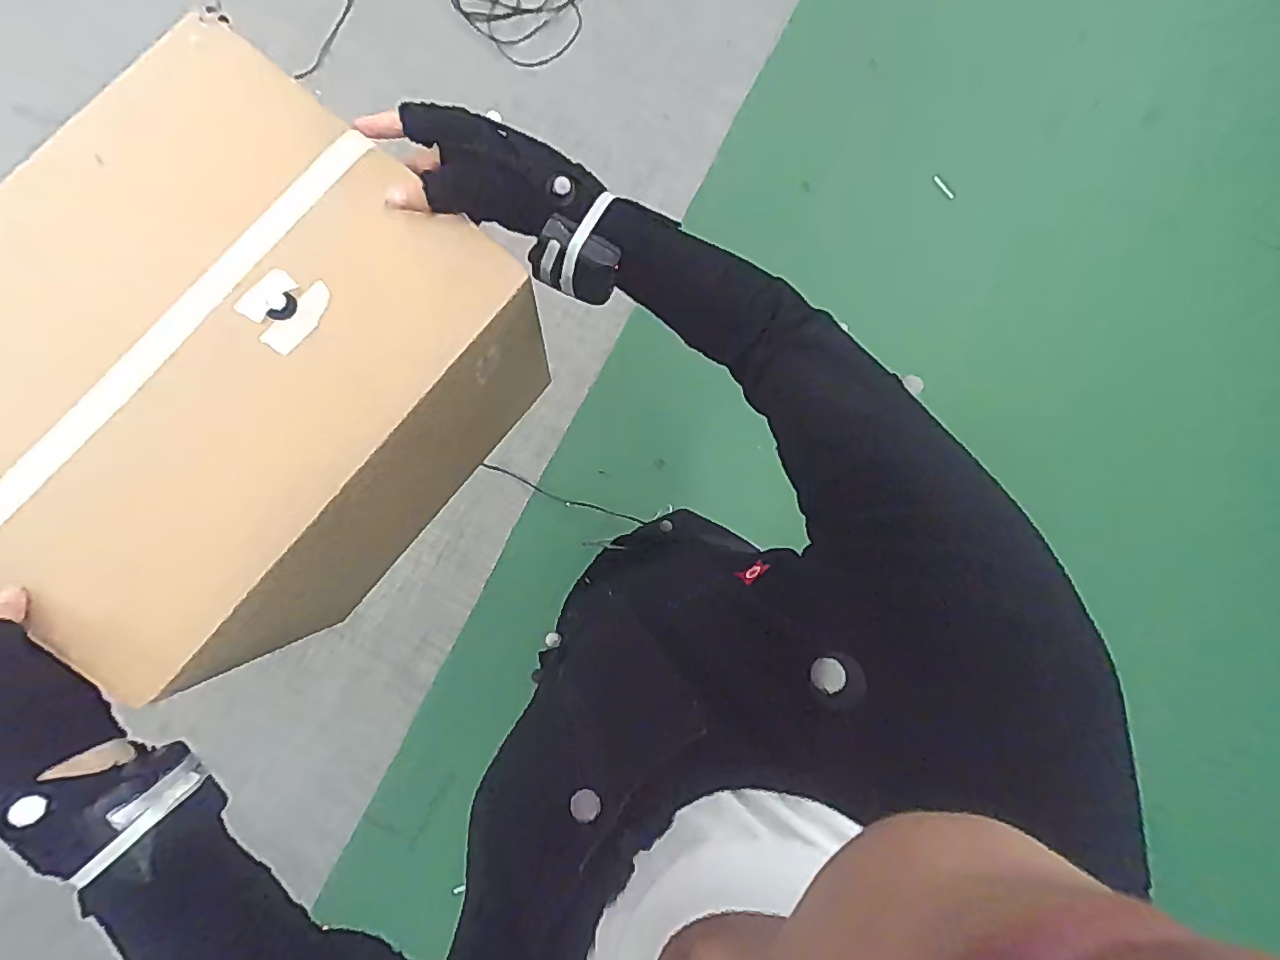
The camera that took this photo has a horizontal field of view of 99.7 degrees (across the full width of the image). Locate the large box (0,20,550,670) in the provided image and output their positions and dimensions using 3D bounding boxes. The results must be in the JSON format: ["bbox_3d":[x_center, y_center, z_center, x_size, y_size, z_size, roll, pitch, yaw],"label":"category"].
[{"bbox_3d":[-0.339,-0.097,0.545,0.320,0.320,0.408,39,82,-2],"label":"large box"}]
